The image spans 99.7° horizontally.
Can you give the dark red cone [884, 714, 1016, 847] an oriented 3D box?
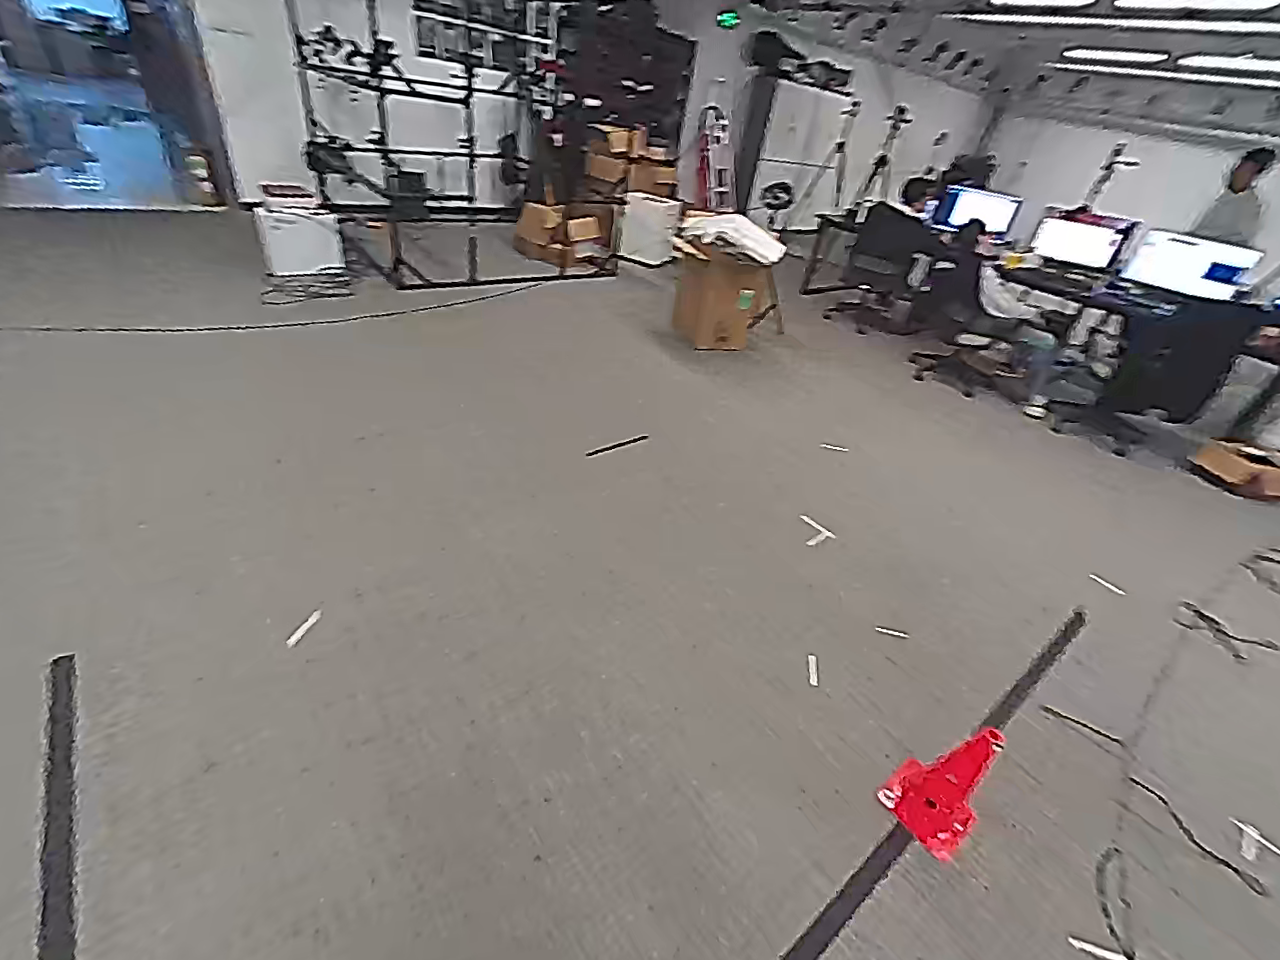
[{"bbox_3d":[0.803,0.707,1.345,0.202,0.394,0.201,-19,46,-36],"label":"dark red cone"}]
